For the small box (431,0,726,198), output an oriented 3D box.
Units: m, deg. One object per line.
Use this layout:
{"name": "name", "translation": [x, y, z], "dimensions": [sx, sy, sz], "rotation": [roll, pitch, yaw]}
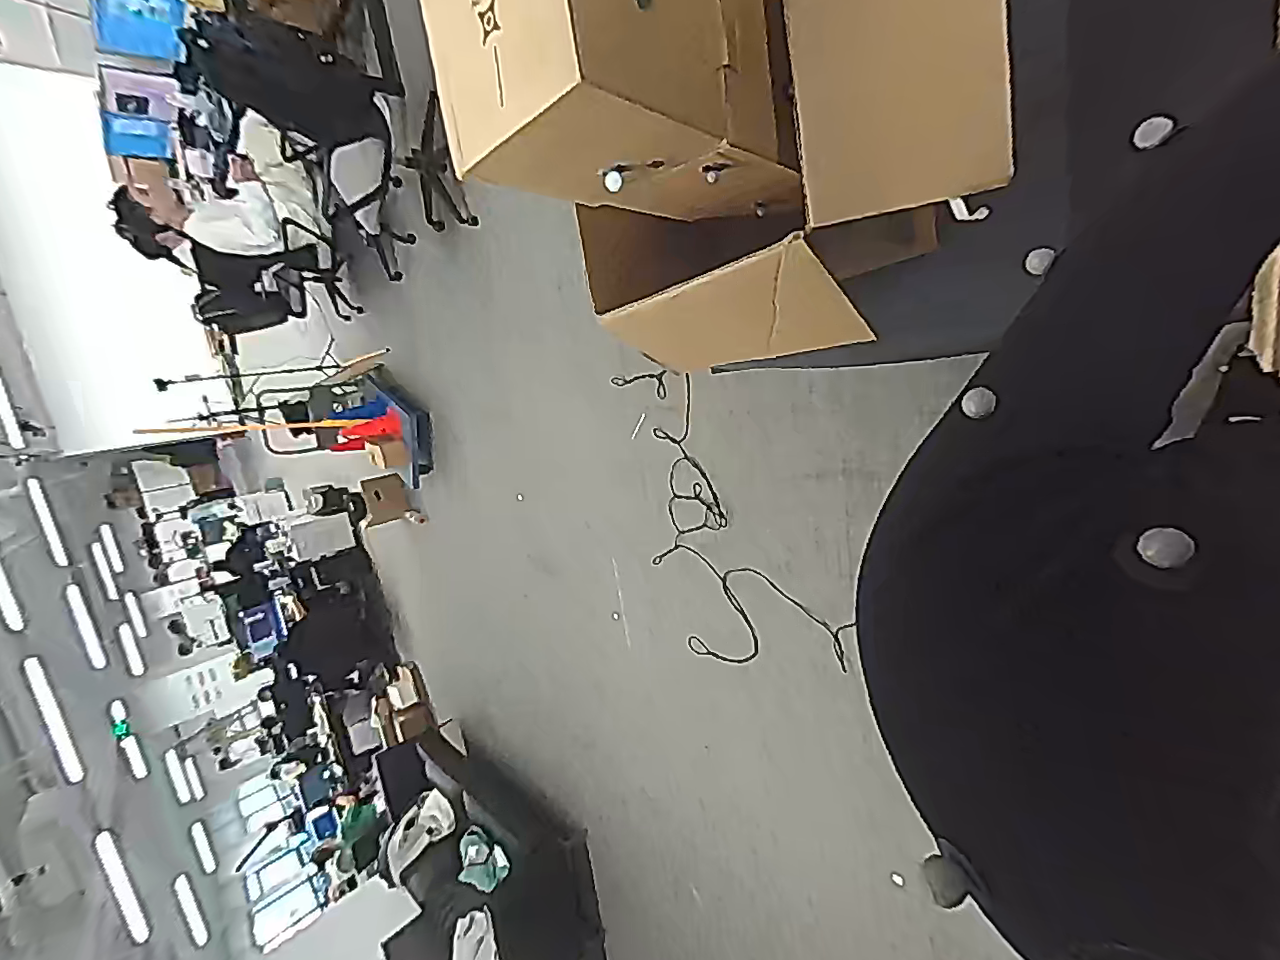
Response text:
{"name": "small box", "translation": [-0.048, -0.362, 0.448], "dimensions": [0.168, 0.176, 0.179], "rotation": [0, 103, 43]}
